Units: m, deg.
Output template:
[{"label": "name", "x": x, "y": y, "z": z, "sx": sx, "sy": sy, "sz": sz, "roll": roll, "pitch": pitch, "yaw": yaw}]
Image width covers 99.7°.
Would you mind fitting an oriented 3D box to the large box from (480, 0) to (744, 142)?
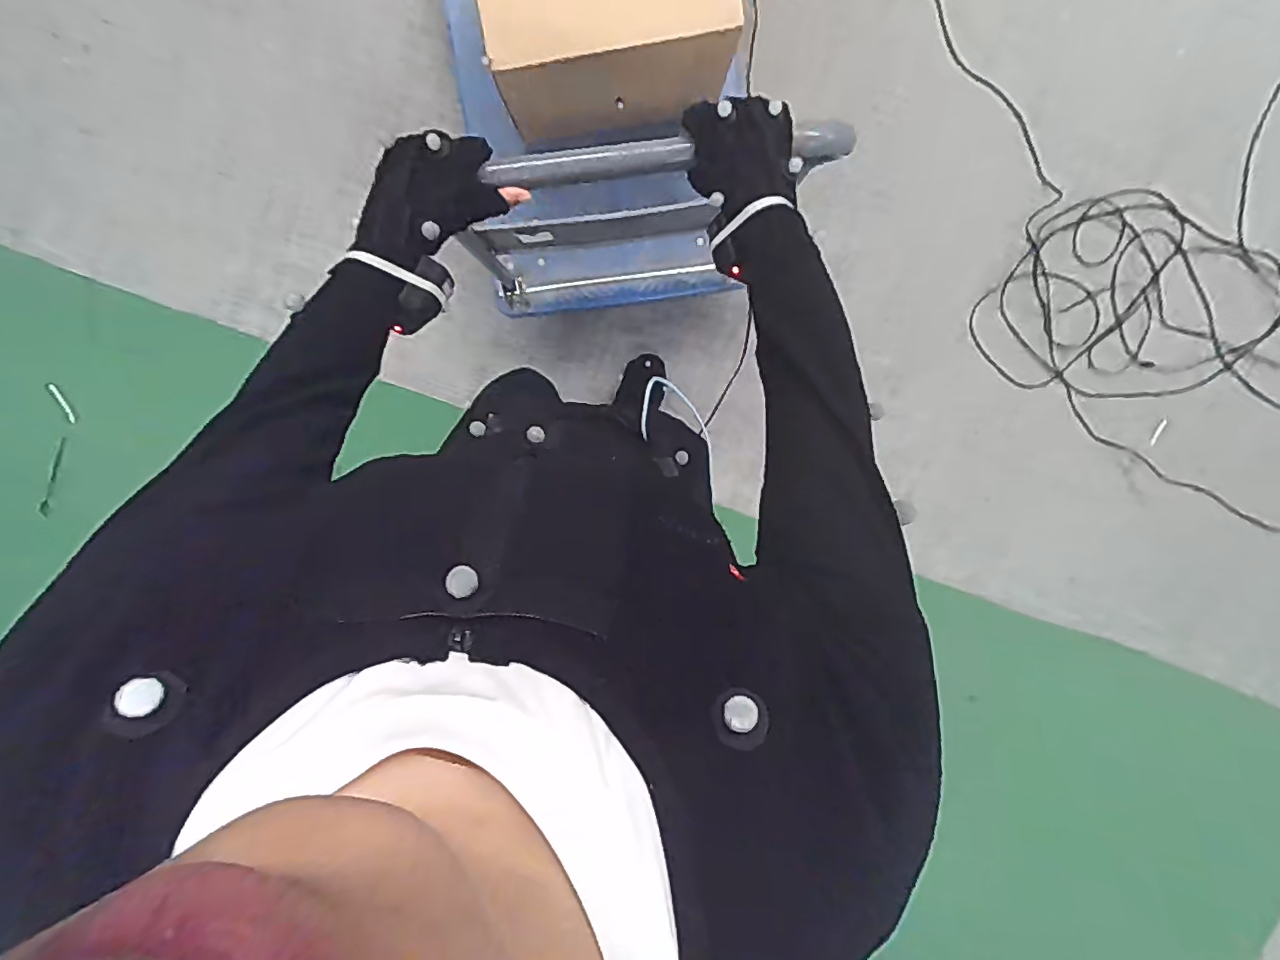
[{"label": "large box", "x": -0.061, "y": -0.853, "z": 0.956, "sx": 0.408, "sy": 0.320, "sz": 0.320, "roll": -10, "pitch": 103, "yaw": 1}]
